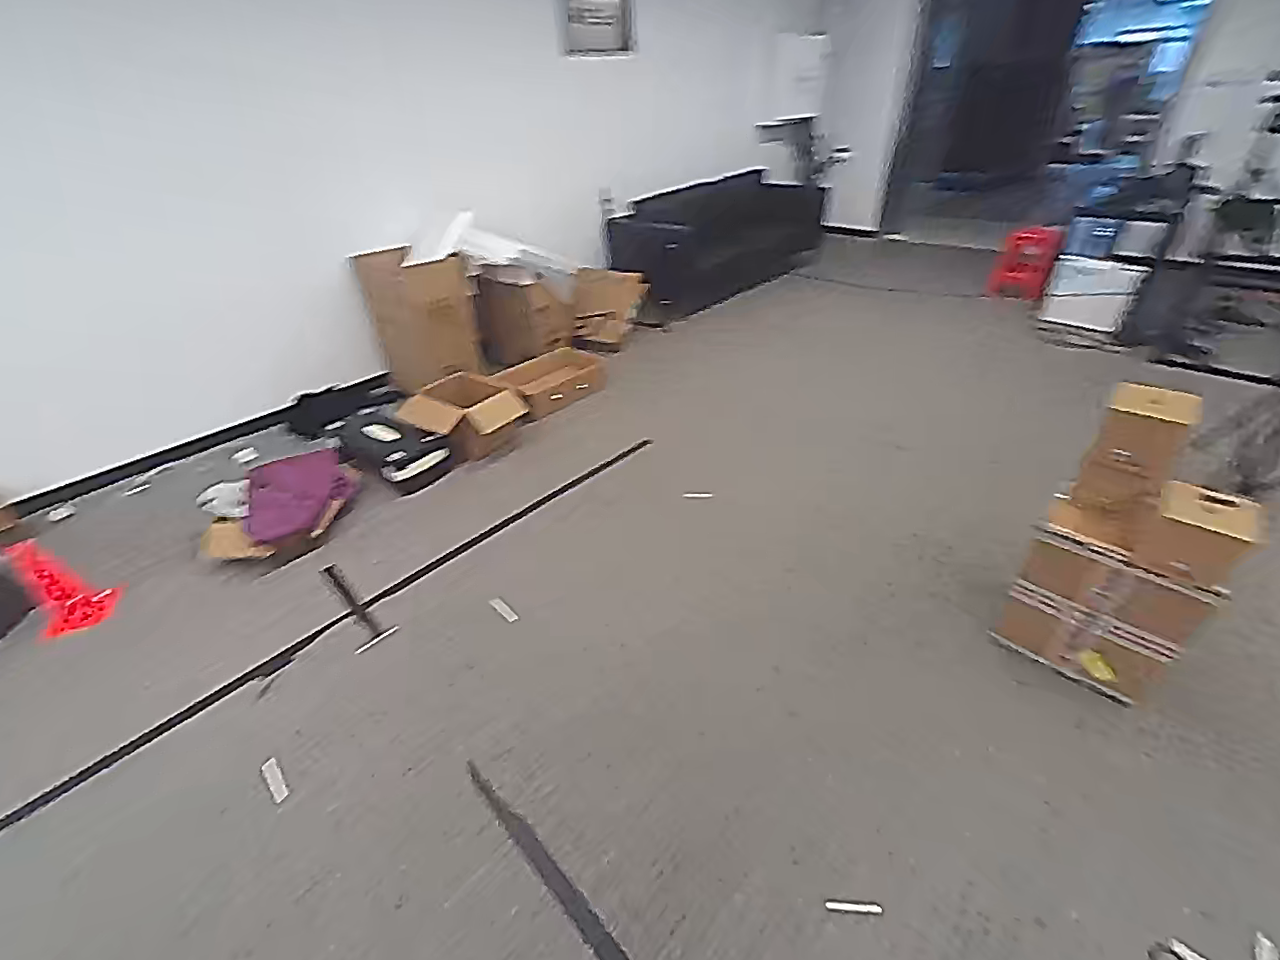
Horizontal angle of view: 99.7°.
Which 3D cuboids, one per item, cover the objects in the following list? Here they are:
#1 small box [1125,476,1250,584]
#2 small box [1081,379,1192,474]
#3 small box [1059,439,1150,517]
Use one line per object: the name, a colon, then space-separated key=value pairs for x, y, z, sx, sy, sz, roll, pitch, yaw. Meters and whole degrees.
small box: x=1.354 y=0.123 z=1.345 sx=0.168 sy=0.176 sz=0.179 roll=25 pitch=48 yaw=35
small box: x=1.313 y=-0.144 z=1.437 sx=0.168 sy=0.176 sz=0.179 roll=24 pitch=47 yaw=37
small box: x=1.339 y=-0.026 z=1.548 sx=0.168 sy=0.176 sz=0.179 roll=25 pitch=47 yaw=37
